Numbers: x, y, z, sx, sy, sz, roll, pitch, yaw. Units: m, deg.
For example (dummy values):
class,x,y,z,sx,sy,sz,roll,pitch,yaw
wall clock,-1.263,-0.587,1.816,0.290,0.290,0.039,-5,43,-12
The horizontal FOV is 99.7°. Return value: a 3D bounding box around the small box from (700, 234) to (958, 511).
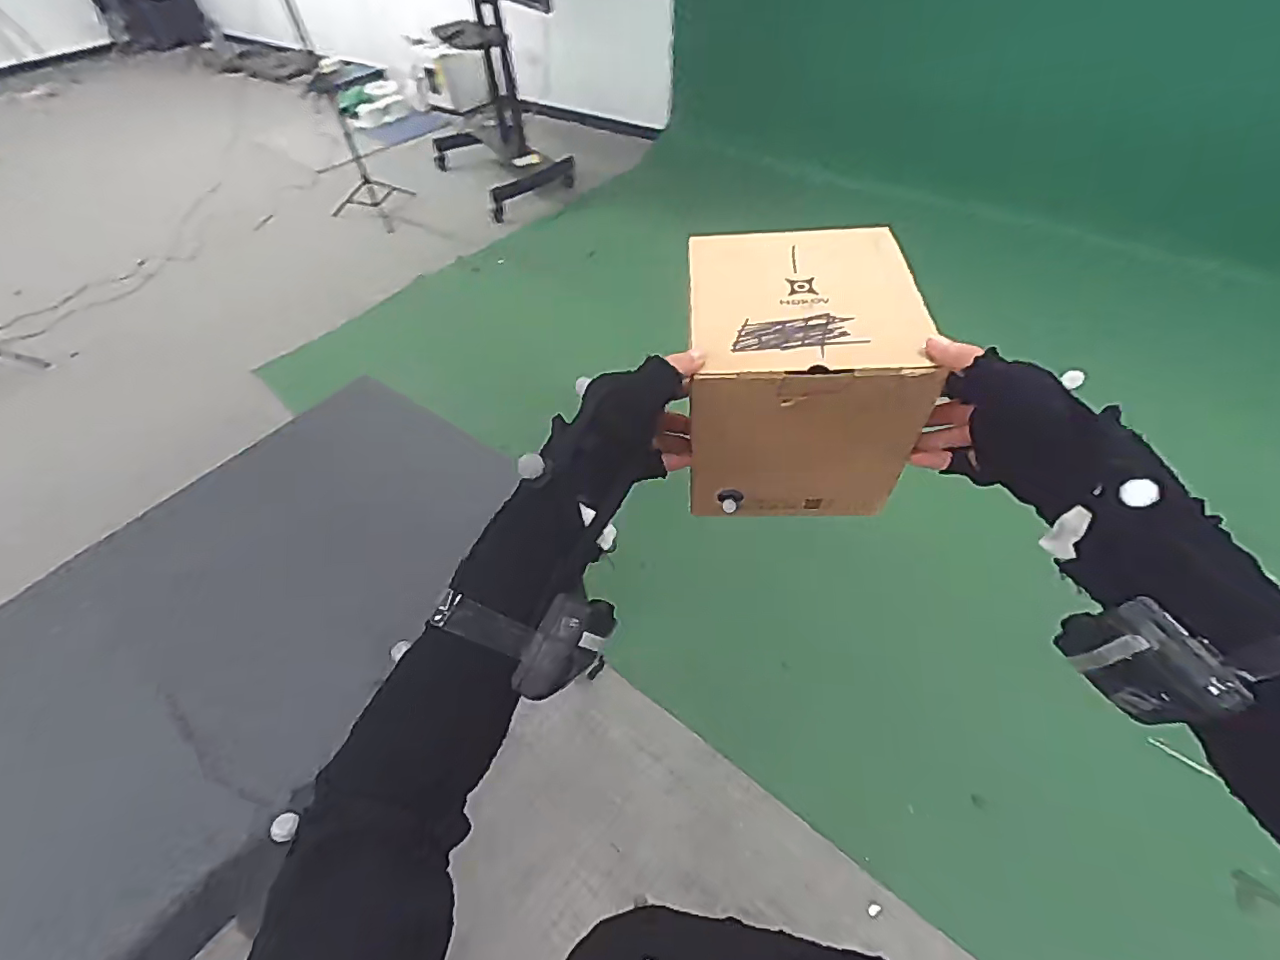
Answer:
class,x,y,z,sx,sy,sz,roll,pitch,yaw
small box,0.138,-0.086,0.470,0.168,0.176,0.179,0,52,5
